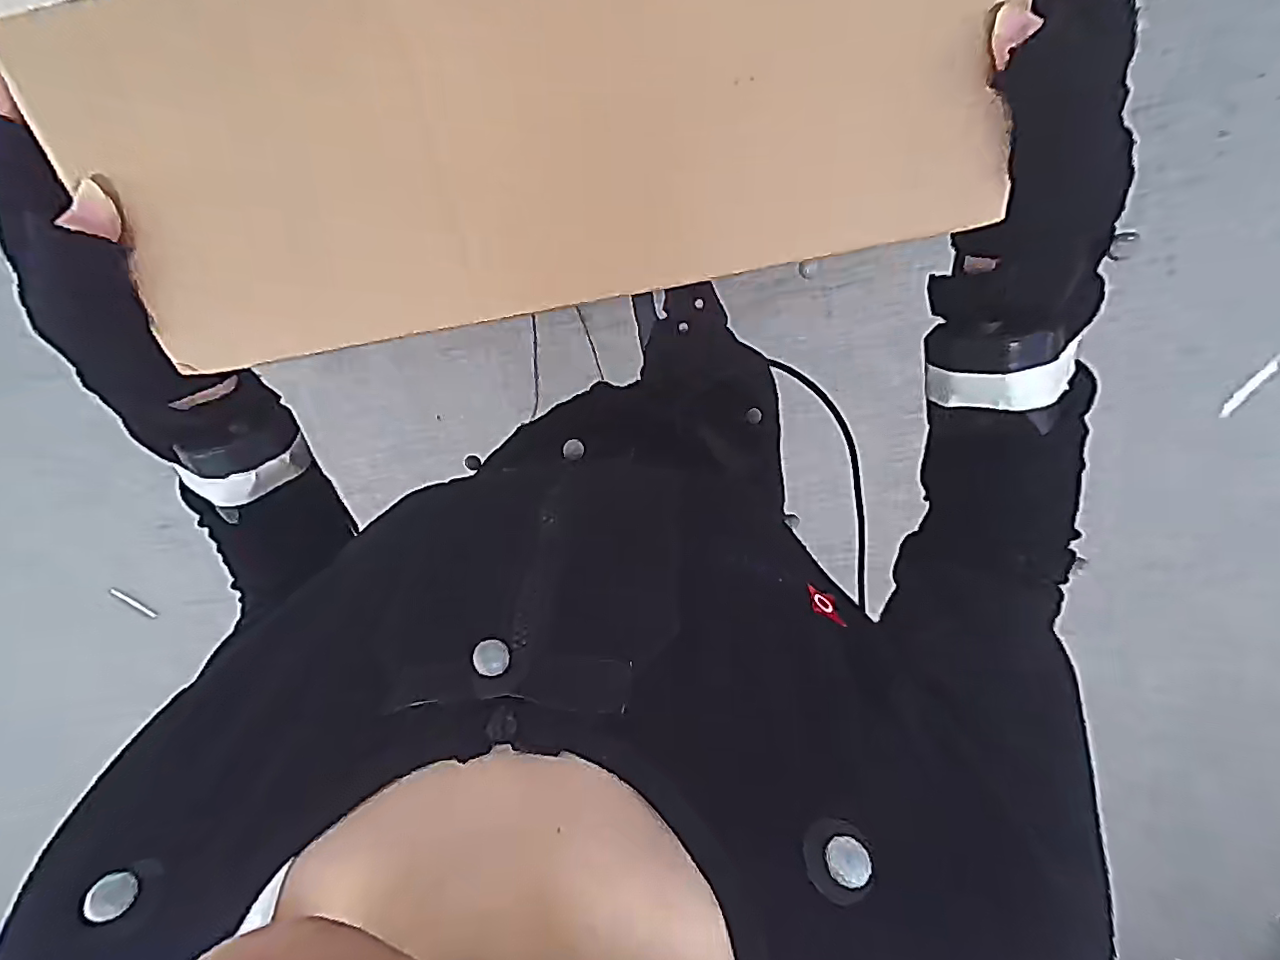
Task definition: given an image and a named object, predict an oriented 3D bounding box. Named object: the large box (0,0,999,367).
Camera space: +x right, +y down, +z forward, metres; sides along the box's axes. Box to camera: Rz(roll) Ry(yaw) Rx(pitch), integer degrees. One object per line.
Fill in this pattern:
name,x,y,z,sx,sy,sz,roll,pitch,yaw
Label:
large box,-0.062,-0.295,0.333,0.408,0.320,0.320,-9,116,6
